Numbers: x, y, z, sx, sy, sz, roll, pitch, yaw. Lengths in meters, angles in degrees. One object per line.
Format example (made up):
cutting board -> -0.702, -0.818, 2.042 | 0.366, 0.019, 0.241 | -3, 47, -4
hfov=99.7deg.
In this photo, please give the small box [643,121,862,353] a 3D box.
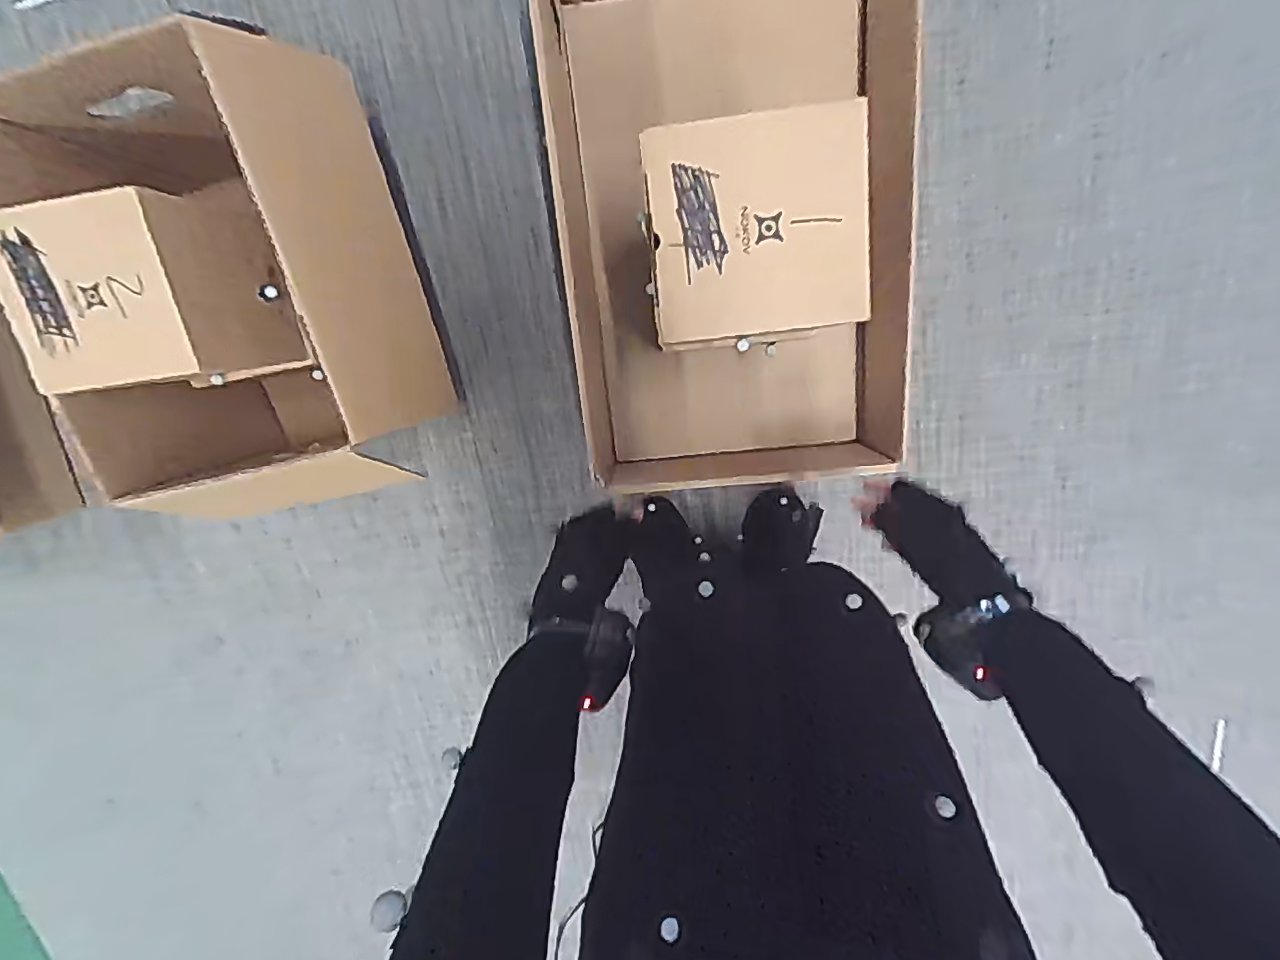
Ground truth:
small box -> 0.100, -0.216, 0.529 | 0.179, 0.176, 0.168 | -5, 102, 3
